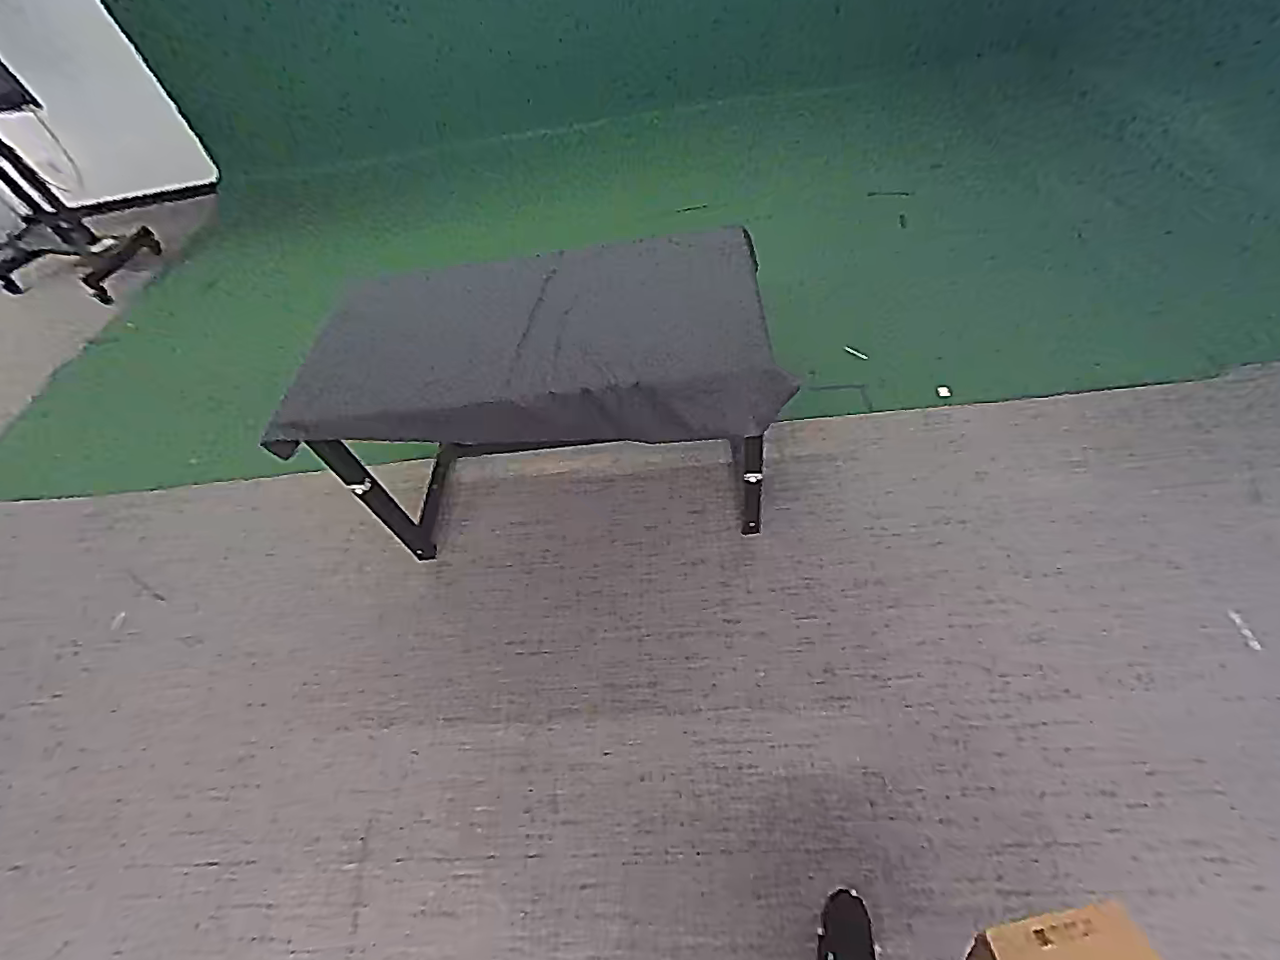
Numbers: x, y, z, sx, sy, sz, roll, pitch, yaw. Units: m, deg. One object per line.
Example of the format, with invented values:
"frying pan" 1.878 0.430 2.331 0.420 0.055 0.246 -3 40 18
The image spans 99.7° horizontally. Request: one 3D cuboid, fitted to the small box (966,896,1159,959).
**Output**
"small box" 0.507 0.612 0.617 0.168 0.179 0.176 -16 35 -1
